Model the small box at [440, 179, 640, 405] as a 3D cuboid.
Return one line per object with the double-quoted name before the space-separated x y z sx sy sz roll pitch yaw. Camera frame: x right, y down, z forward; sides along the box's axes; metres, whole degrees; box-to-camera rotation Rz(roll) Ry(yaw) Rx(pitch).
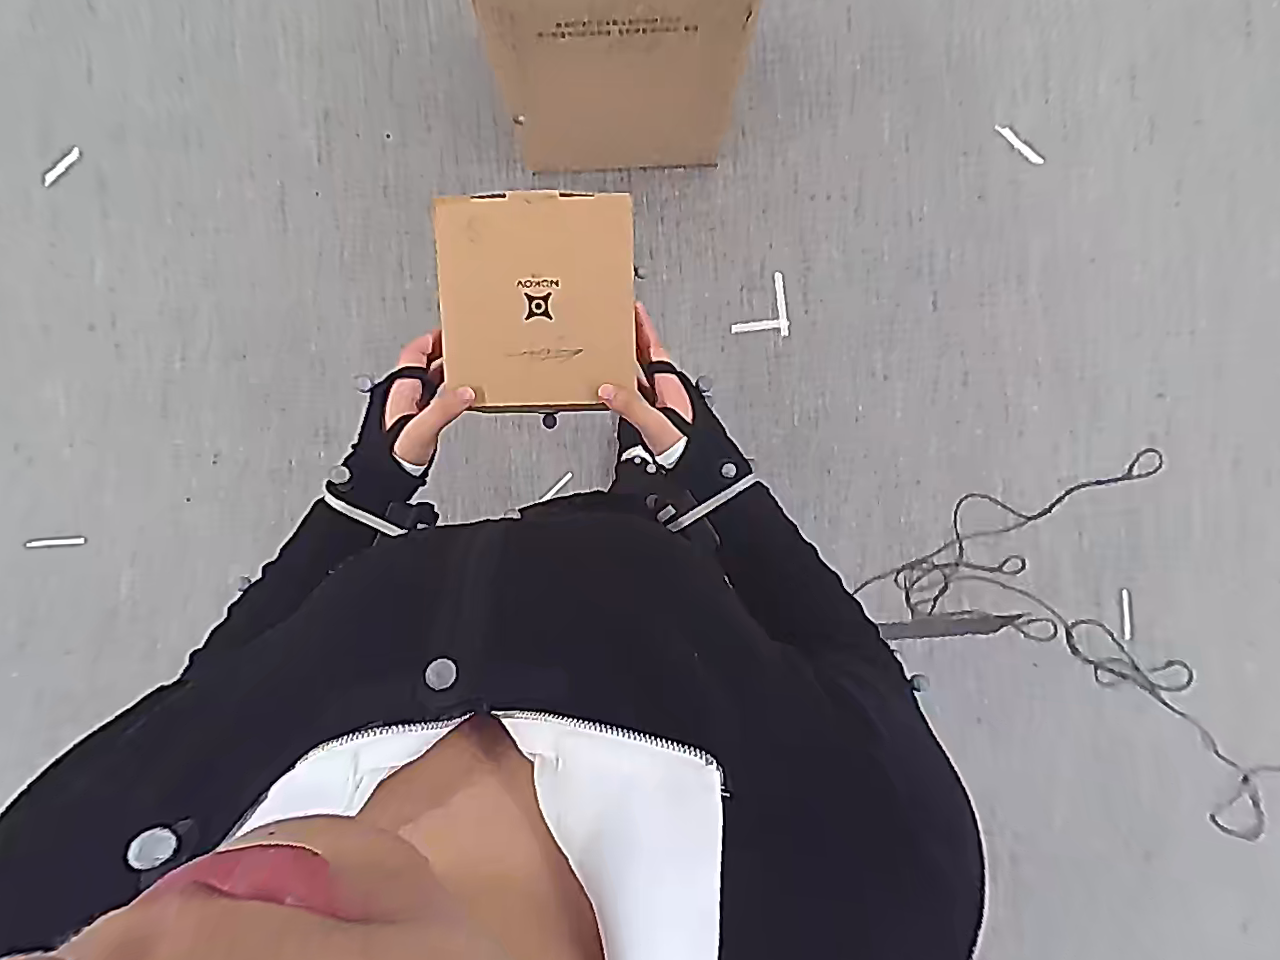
"small box" -0.086 -0.170 0.537 0.168 0.176 0.179 -2 95 -1
